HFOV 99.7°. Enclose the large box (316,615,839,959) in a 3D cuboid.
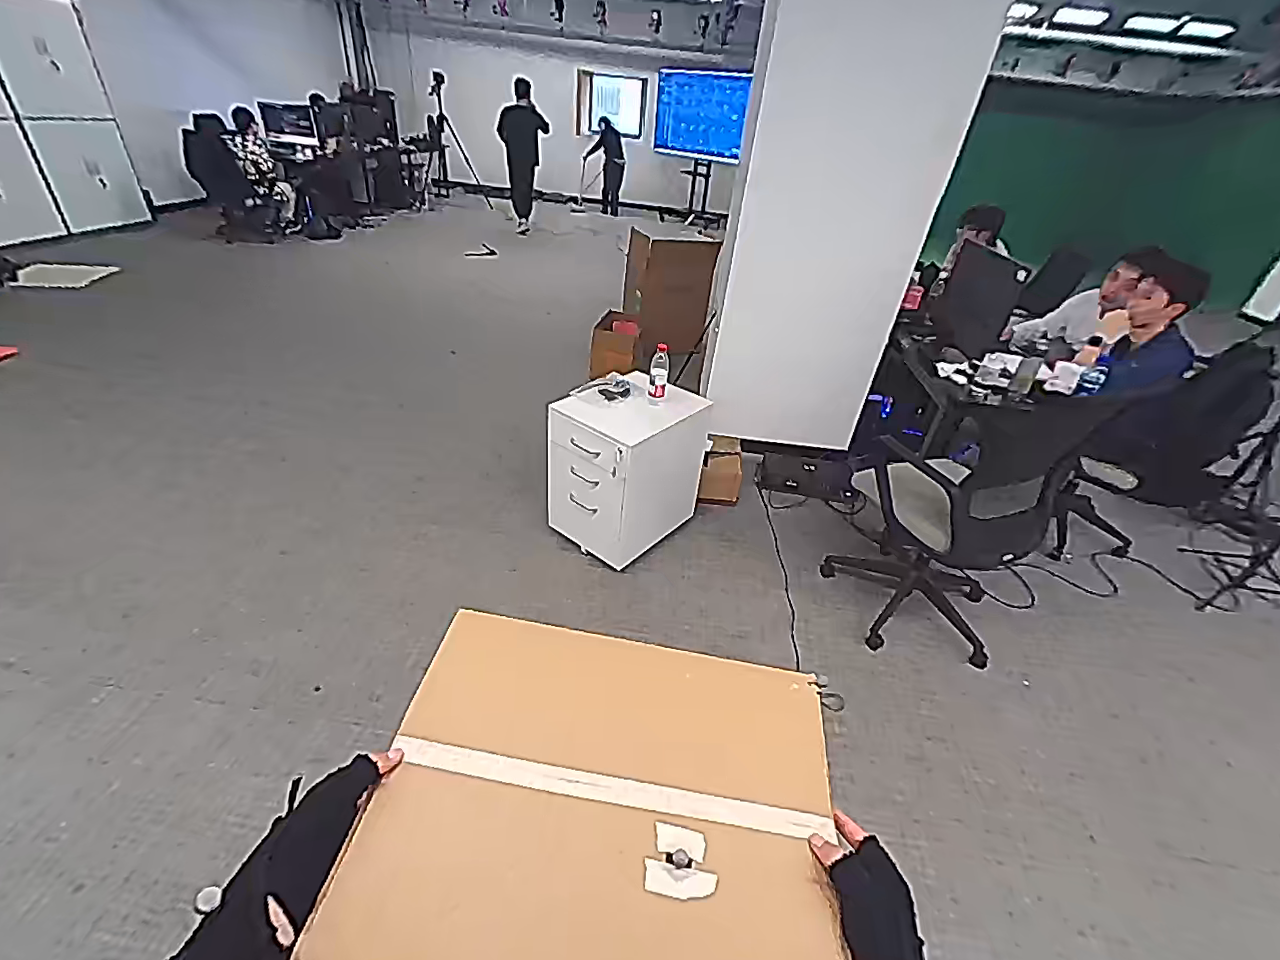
[{"bbox_3d":[-0.044,0.396,0.597,0.408,0.320,0.320,11,41,2],"label":"large box"}]
